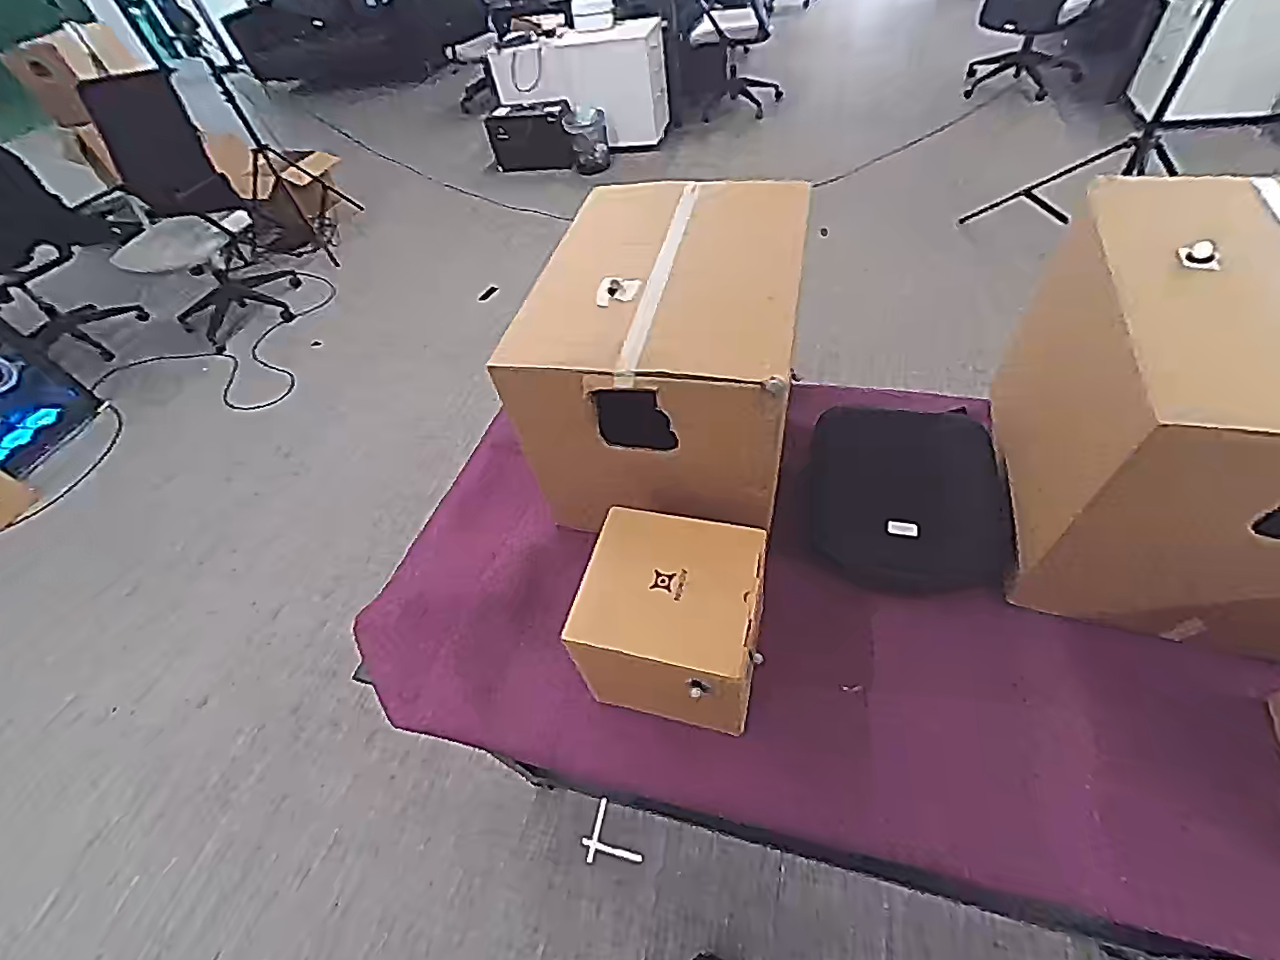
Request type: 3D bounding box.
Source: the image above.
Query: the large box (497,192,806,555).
[{"bbox_3d":[0.052,-0.156,0.770,0.320,0.320,0.408,6,54,15],"label":"large box"}]
